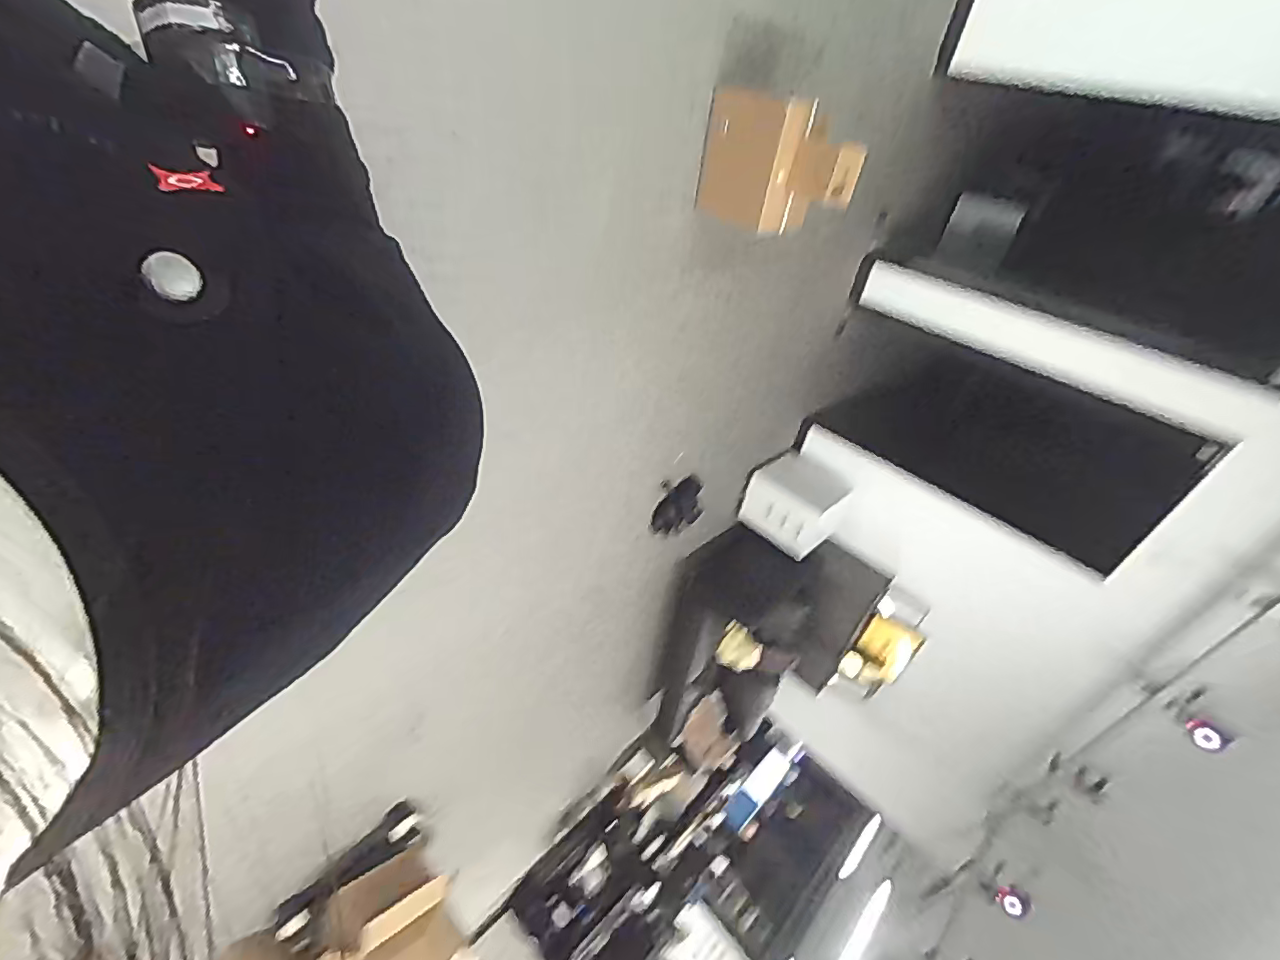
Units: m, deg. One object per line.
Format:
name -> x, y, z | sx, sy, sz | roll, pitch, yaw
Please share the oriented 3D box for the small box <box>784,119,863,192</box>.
small box -> 0.619, -1.108, 1.849 | 0.168, 0.176, 0.179 | -19, 136, -40
